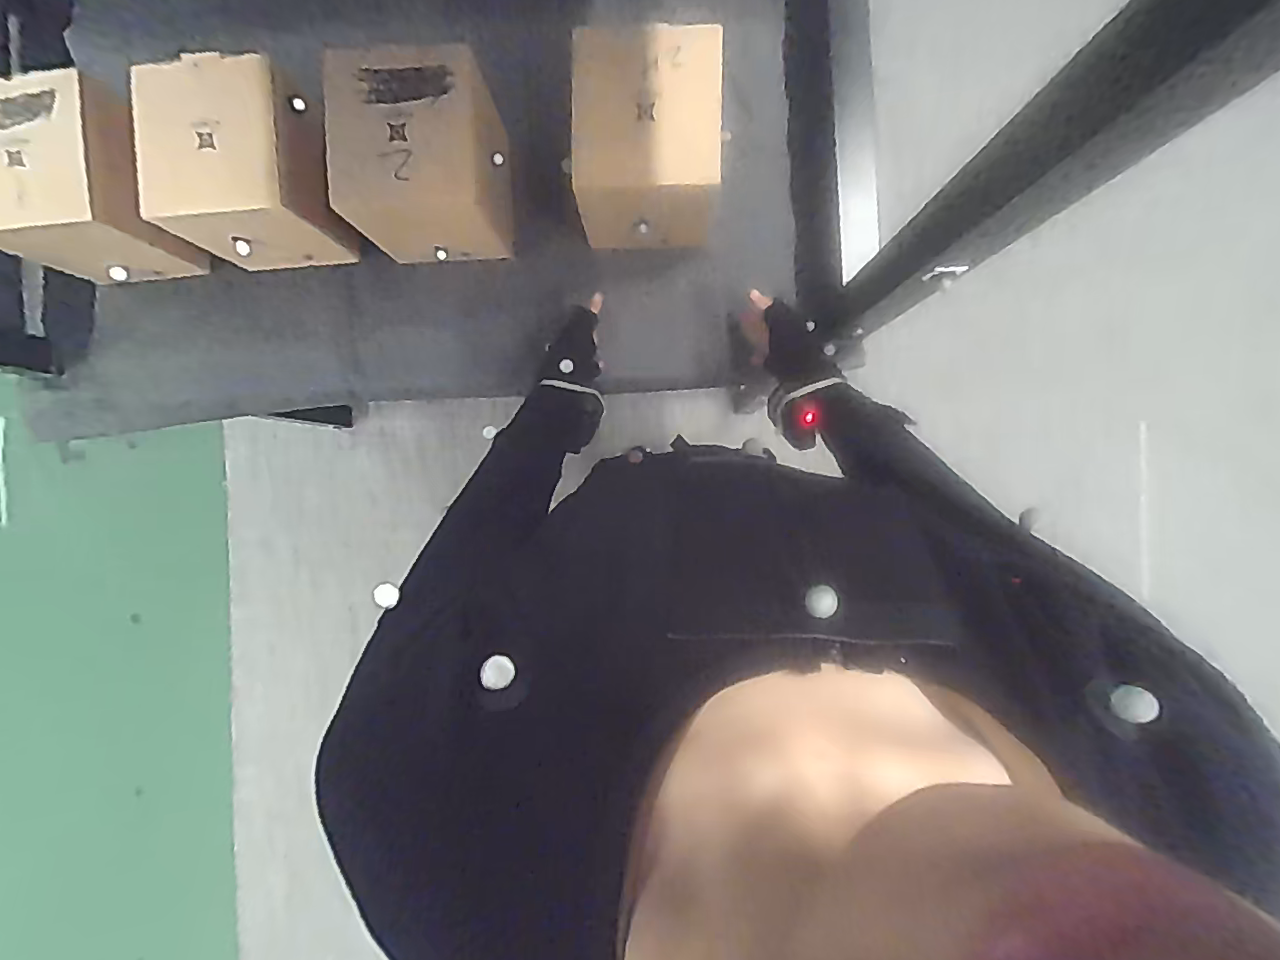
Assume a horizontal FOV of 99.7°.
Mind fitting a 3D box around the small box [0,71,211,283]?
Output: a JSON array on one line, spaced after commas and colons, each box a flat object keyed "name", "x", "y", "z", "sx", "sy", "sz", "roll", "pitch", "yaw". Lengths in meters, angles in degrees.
[{"name": "small box", "x": -0.701, "y": -0.375, "z": 0.697, "sx": 0.168, "sy": 0.176, "sz": 0.179, "roll": -4, "pitch": 91, "yaw": 2}]

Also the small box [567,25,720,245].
[{"name": "small box", "x": 0.007, "y": -0.408, "z": 0.669, "sx": 0.168, "sy": 0.176, "sz": 0.179, "roll": 1, "pitch": 90, "yaw": 2}]
